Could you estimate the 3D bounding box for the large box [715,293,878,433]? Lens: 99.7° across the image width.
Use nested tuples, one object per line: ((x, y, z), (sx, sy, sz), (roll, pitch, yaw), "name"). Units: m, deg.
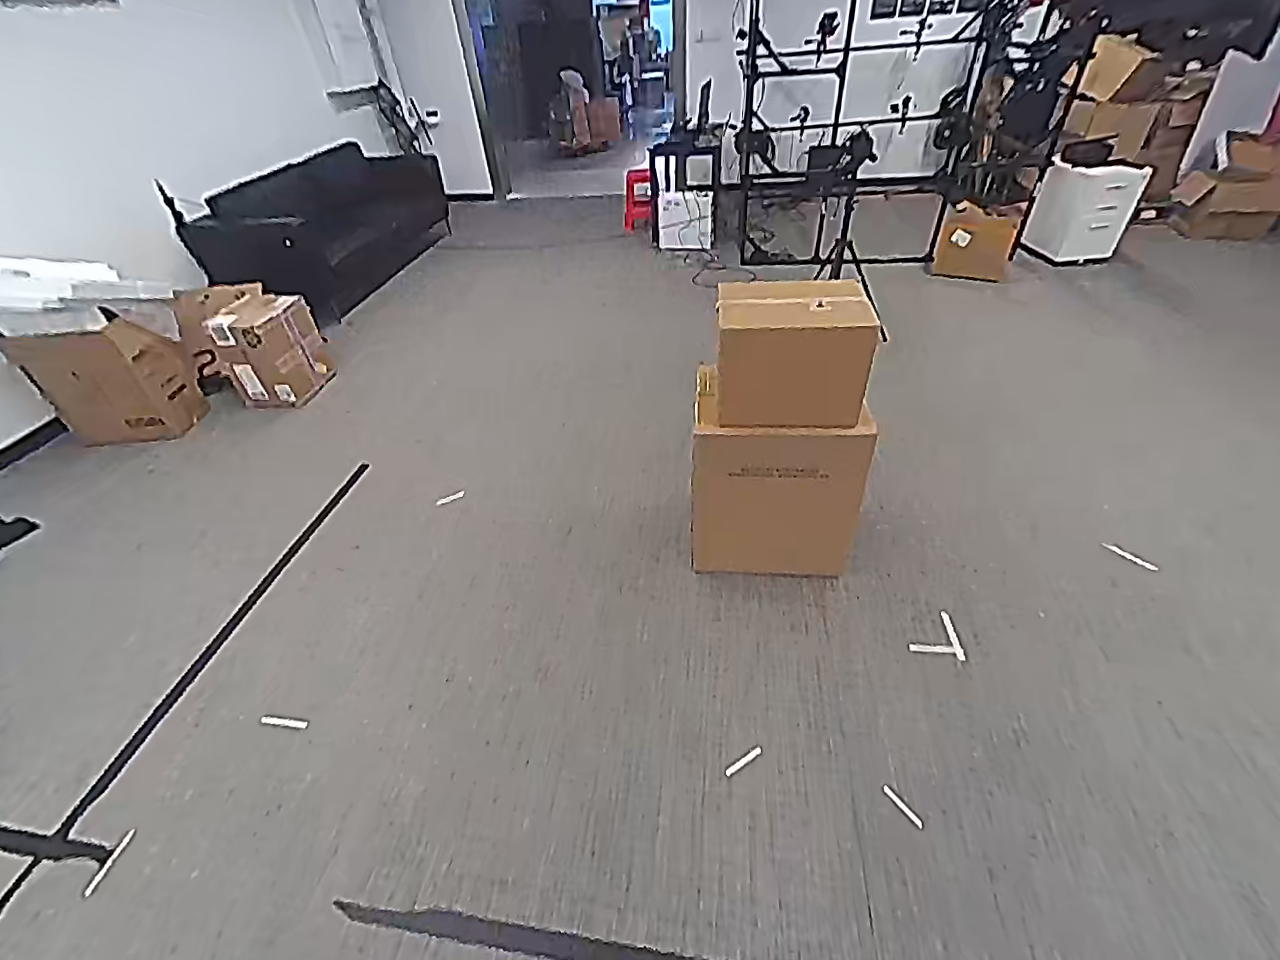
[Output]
((0.432, -0.346, 1.604), (0.408, 0.320, 0.320), (1, 41, 6), "large box")
